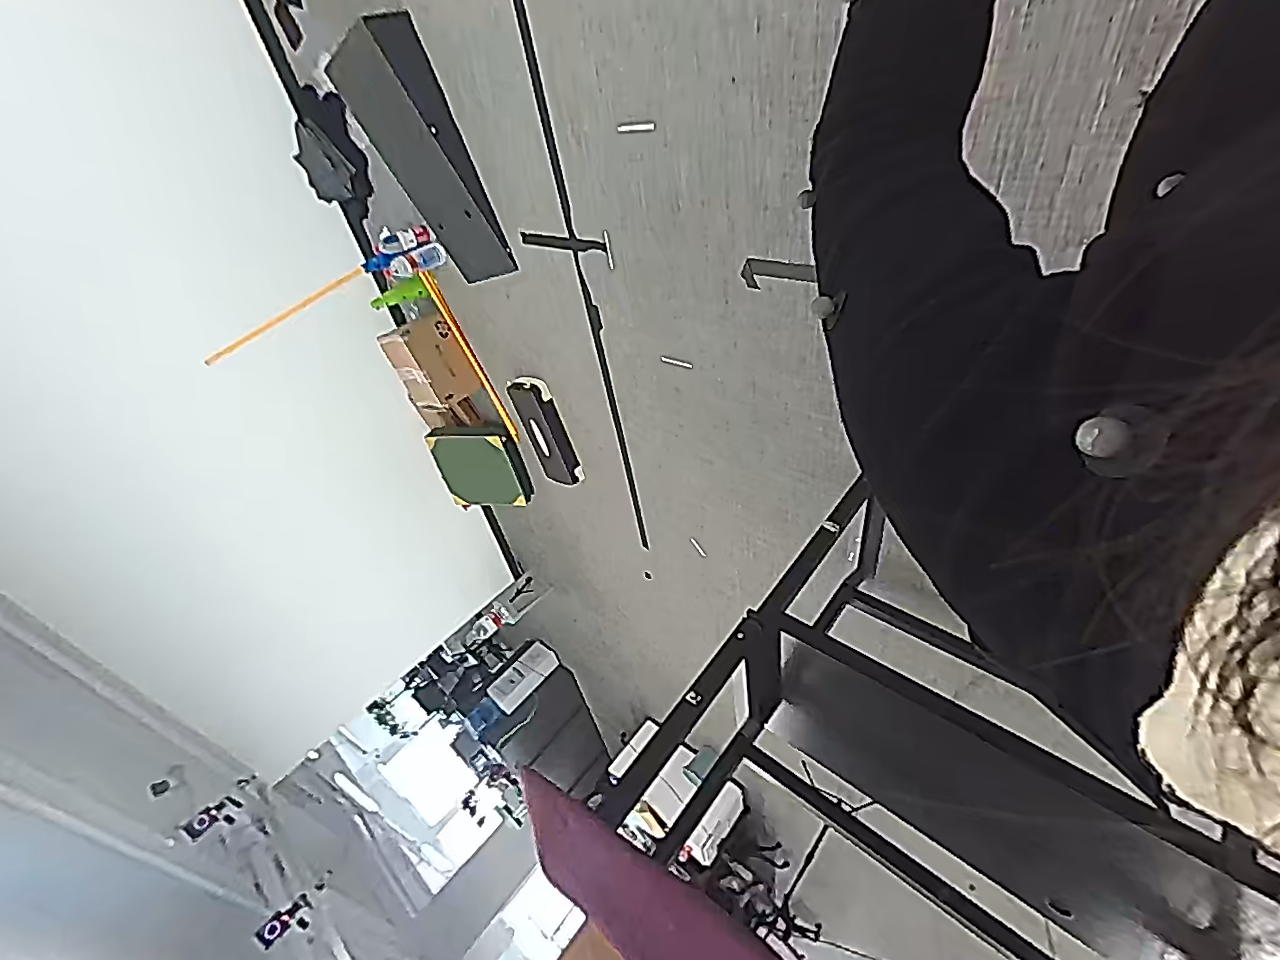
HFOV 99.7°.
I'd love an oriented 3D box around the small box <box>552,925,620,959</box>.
[{"bbox_3d":[-0.095,0.981,1.013,0.179,0.176,0.168,28,144,31],"label":"small box"}]
